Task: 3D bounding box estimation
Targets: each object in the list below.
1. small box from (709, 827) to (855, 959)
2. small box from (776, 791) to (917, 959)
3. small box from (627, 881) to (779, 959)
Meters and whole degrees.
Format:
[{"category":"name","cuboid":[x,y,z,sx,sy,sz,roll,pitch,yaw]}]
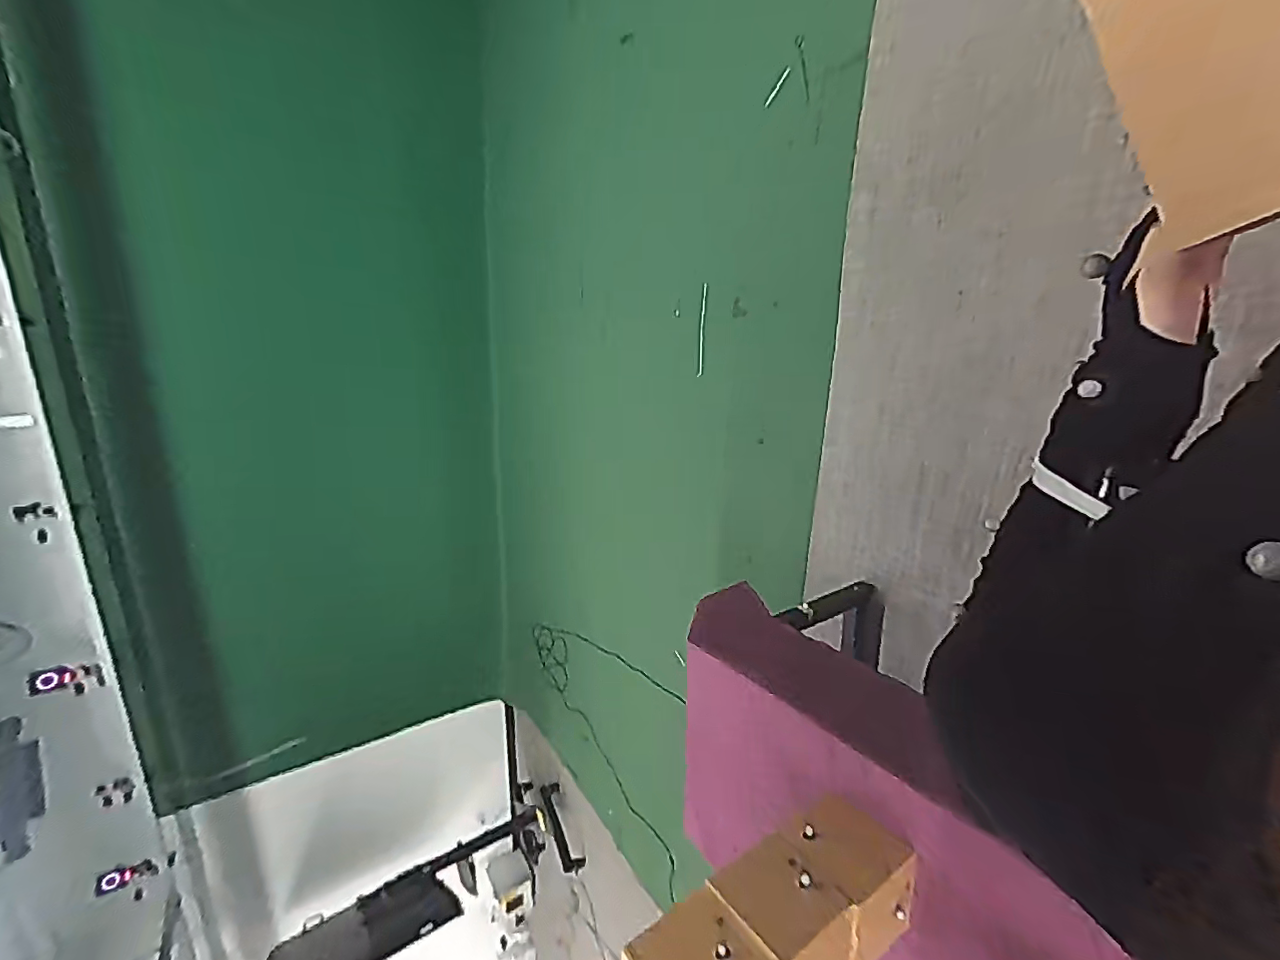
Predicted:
[{"category":"small box","cuboid":[0.229,0.726,0.883,0.168,0.176,0.179,16,110,53]},{"category":"small box","cuboid":[0.363,0.701,0.972,0.179,0.176,0.168,18,113,53]},{"category":"small box","cuboid":[0.097,0.755,0.792,0.168,0.176,0.179,12,107,54]}]
